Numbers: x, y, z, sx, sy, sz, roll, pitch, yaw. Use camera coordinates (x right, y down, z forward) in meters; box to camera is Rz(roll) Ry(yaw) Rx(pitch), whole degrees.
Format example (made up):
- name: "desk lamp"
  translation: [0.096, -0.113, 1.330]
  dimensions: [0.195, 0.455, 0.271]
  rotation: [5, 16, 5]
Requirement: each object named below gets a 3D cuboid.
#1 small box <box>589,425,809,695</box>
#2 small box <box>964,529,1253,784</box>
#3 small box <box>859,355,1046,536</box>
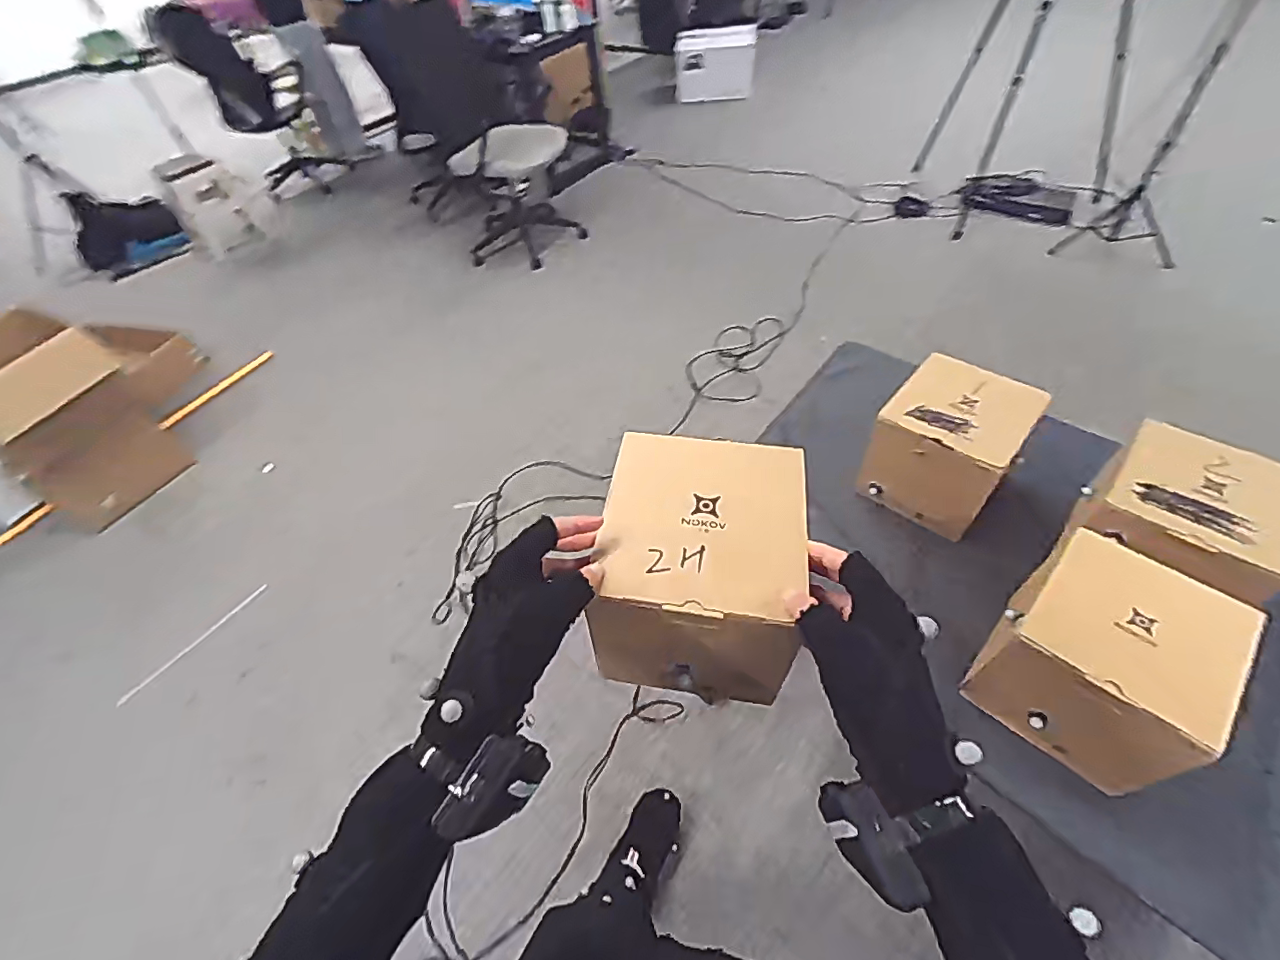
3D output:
- name: "small box"
  translation: [0.058, 0.076, 0.512]
  dimensions: [0.168, 0.176, 0.179]
  rotation: [9, 50, 9]
- name: "small box"
  translation: [0.497, 0.195, 0.599]
  dimensions: [0.168, 0.176, 0.179]
  rotation: [34, 61, 30]
- name: "small box"
  translation: [0.449, -0.049, 0.805]
  dimensions: [0.168, 0.176, 0.179]
  rotation: [33, 61, 29]
